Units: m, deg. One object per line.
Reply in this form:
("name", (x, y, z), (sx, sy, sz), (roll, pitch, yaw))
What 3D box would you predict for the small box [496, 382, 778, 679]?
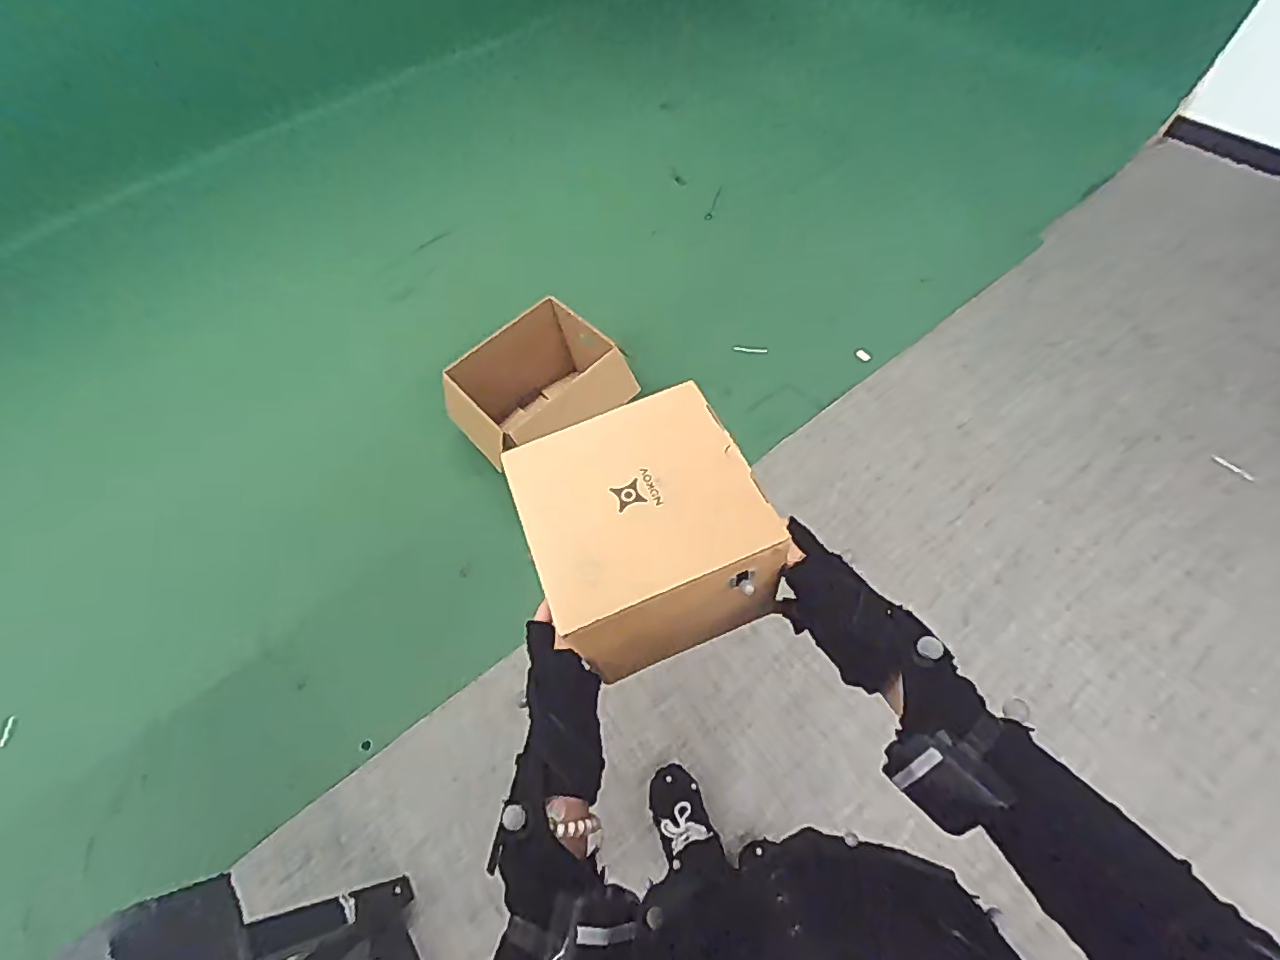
("small box", (0.000, 0.052, 0.474), (0.179, 0.176, 0.168), (-22, 58, -6))
